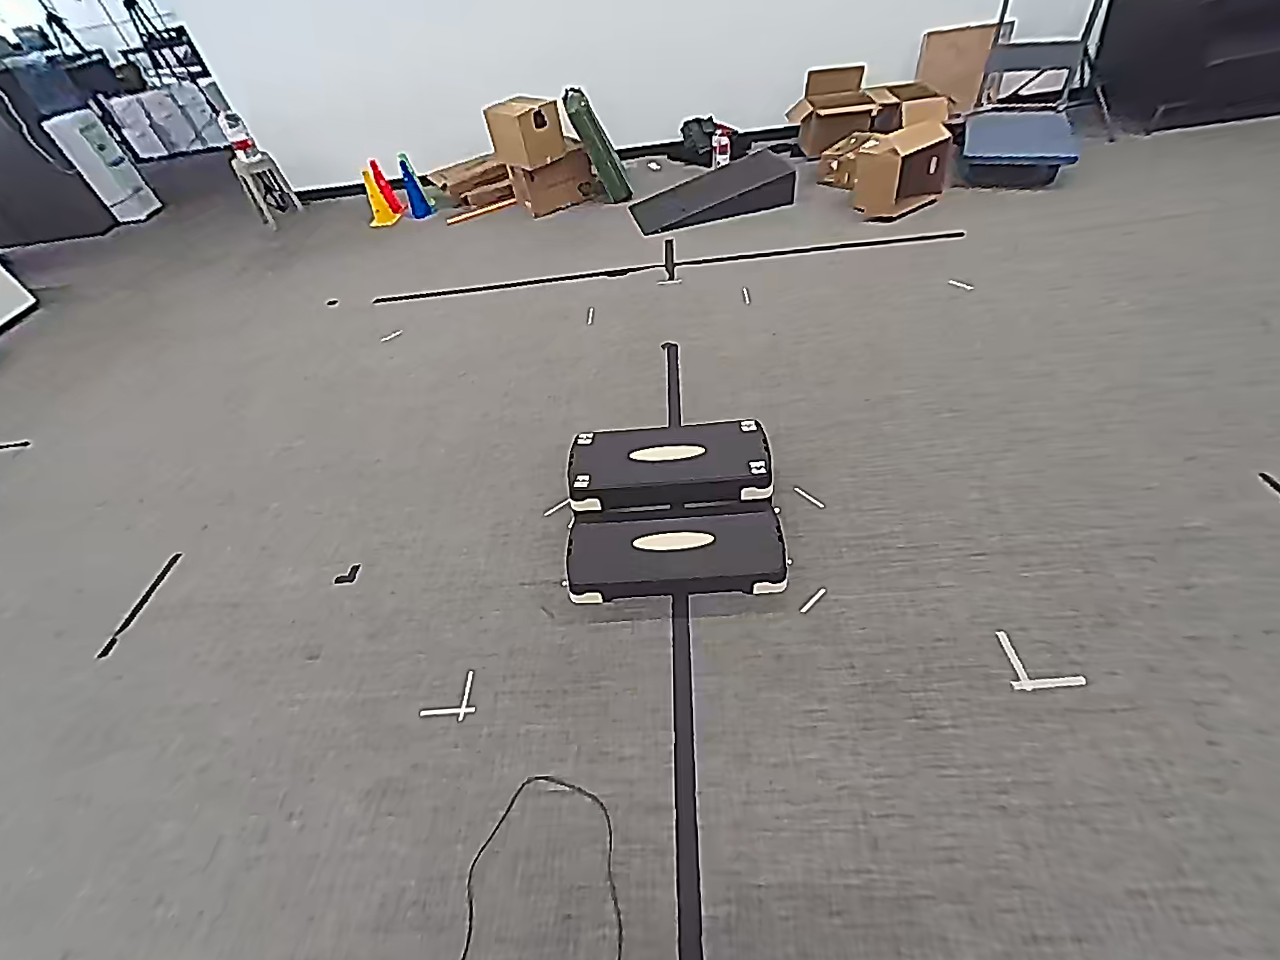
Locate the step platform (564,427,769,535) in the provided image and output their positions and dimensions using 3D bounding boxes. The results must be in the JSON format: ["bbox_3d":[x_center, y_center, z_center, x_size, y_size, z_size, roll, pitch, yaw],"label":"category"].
[{"bbox_3d":[0.086,-0.002,1.835,0.684,0.204,0.286,-4,48,4],"label":"step platform"}]
